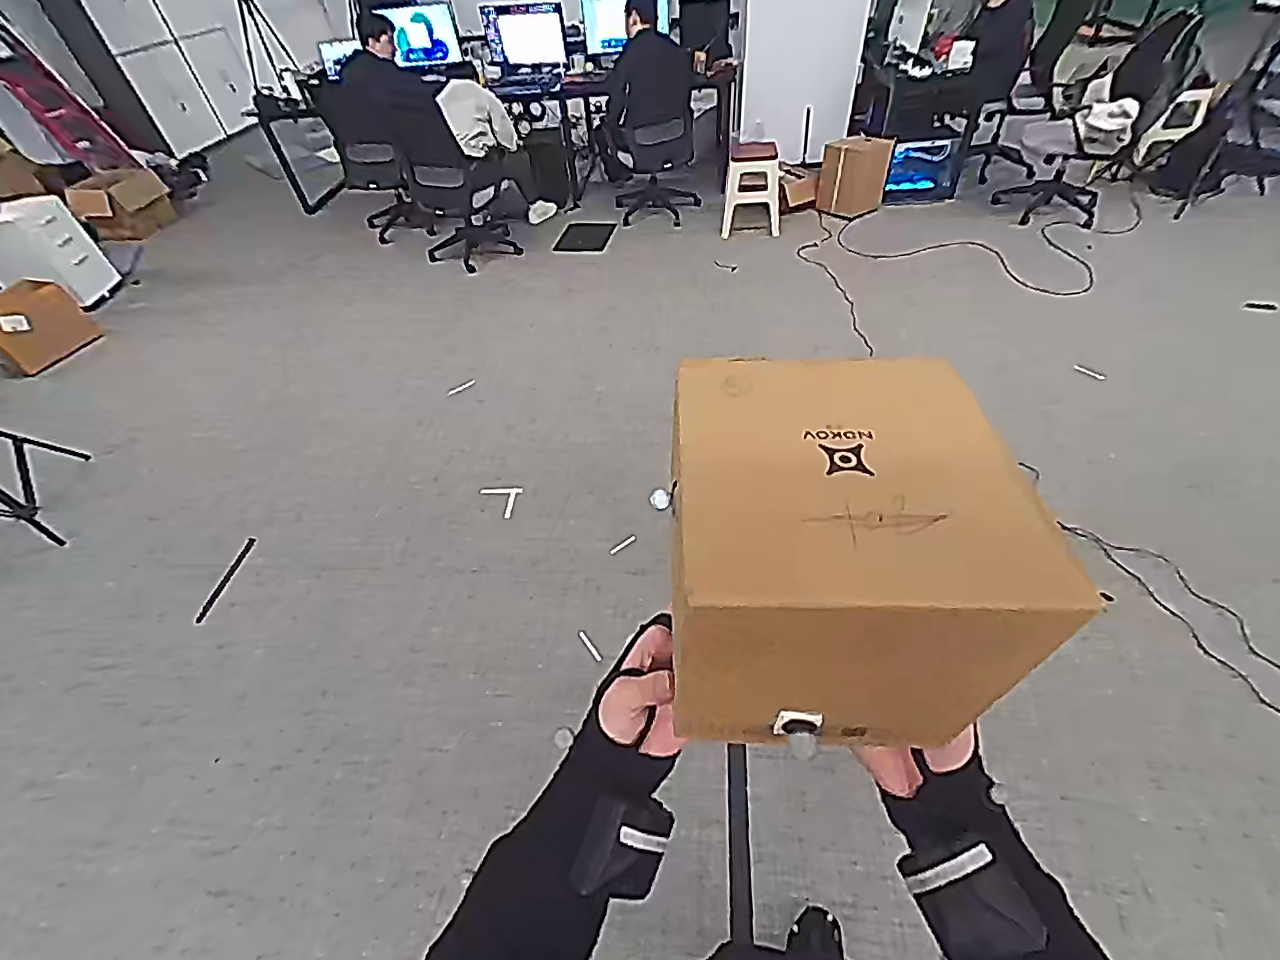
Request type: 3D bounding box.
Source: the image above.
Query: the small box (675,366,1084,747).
[{"bbox_3d":[0.108,0.047,0.342,0.168,0.176,0.179,0,47,2],"label":"small box"}]
